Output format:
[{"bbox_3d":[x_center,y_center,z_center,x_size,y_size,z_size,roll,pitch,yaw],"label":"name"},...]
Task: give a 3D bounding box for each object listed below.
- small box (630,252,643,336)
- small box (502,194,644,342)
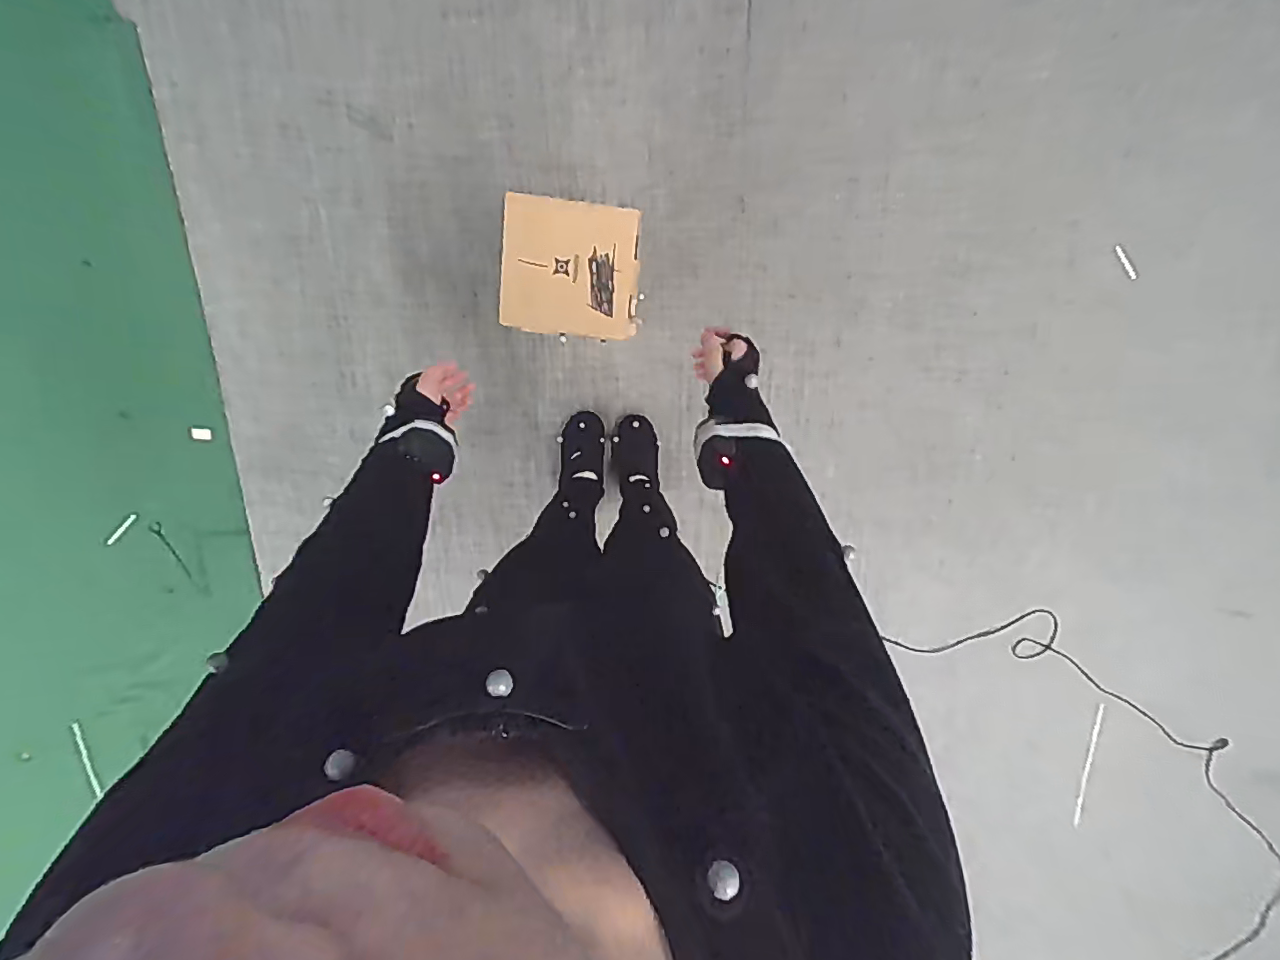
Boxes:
[{"bbox_3d":[-0.085,-0.383,1.107,0.179,0.176,0.168,2,106,-1],"label":"small box"},{"bbox_3d":[-0.090,-0.299,0.792,0.179,0.176,0.168,7,105,-1],"label":"small box"}]
